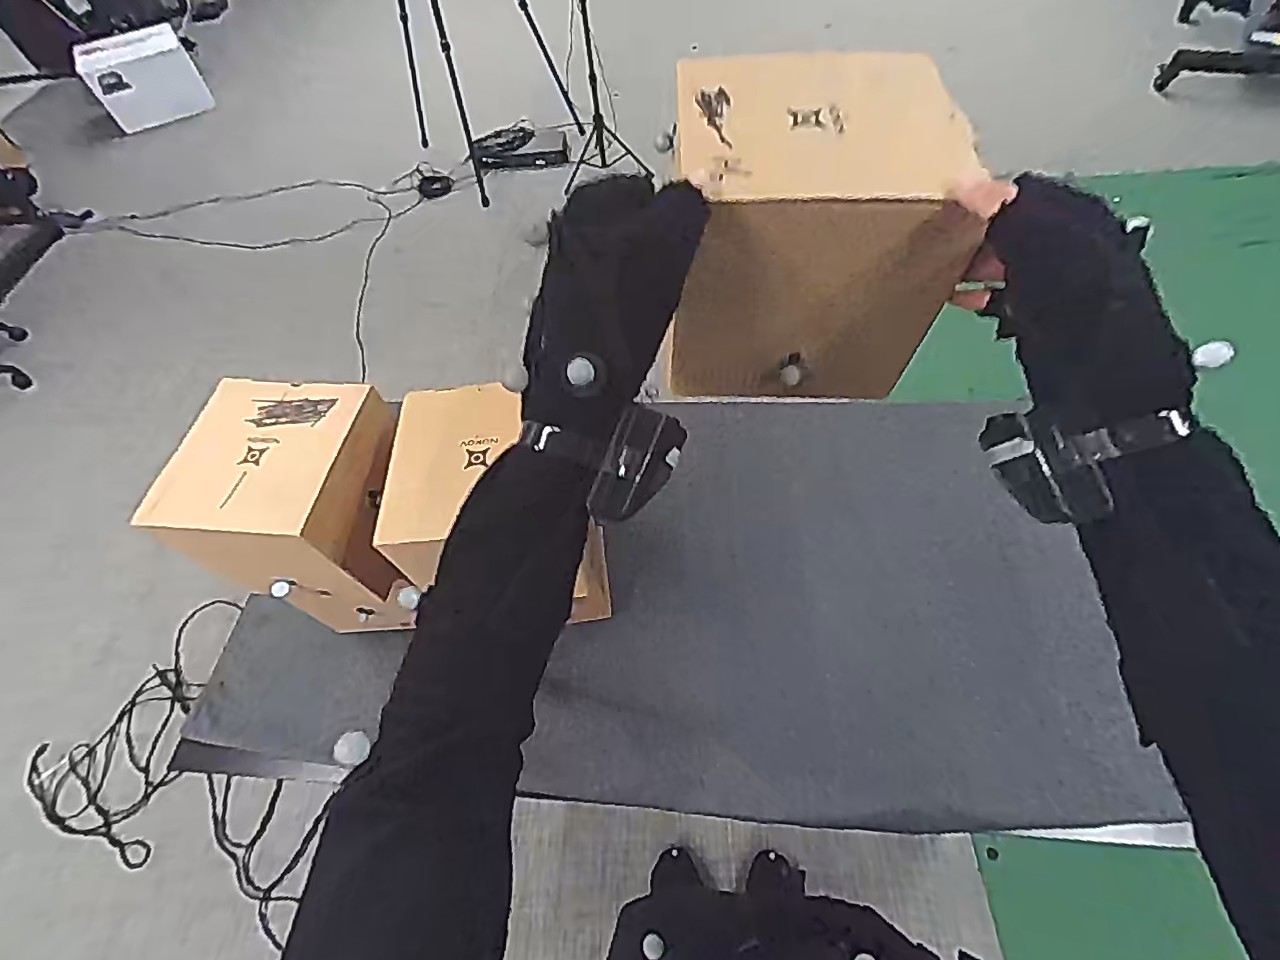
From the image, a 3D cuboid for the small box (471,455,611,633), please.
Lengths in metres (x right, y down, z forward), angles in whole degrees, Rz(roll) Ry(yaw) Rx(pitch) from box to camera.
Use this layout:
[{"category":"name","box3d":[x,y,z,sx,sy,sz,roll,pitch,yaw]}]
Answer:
[{"category":"small box","box3d":[-0.133,0.092,0.717,0.168,0.176,0.179,-8,56,-1]}]

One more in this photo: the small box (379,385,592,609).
[{"category":"small box","box3d":[-0.142,0.027,0.567,0.168,0.176,0.179,-5,56,0]}]

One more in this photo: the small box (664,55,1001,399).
[{"category":"small box","box3d":[0.110,-0.174,0.398,0.179,0.176,0.168,1,59,1]}]
